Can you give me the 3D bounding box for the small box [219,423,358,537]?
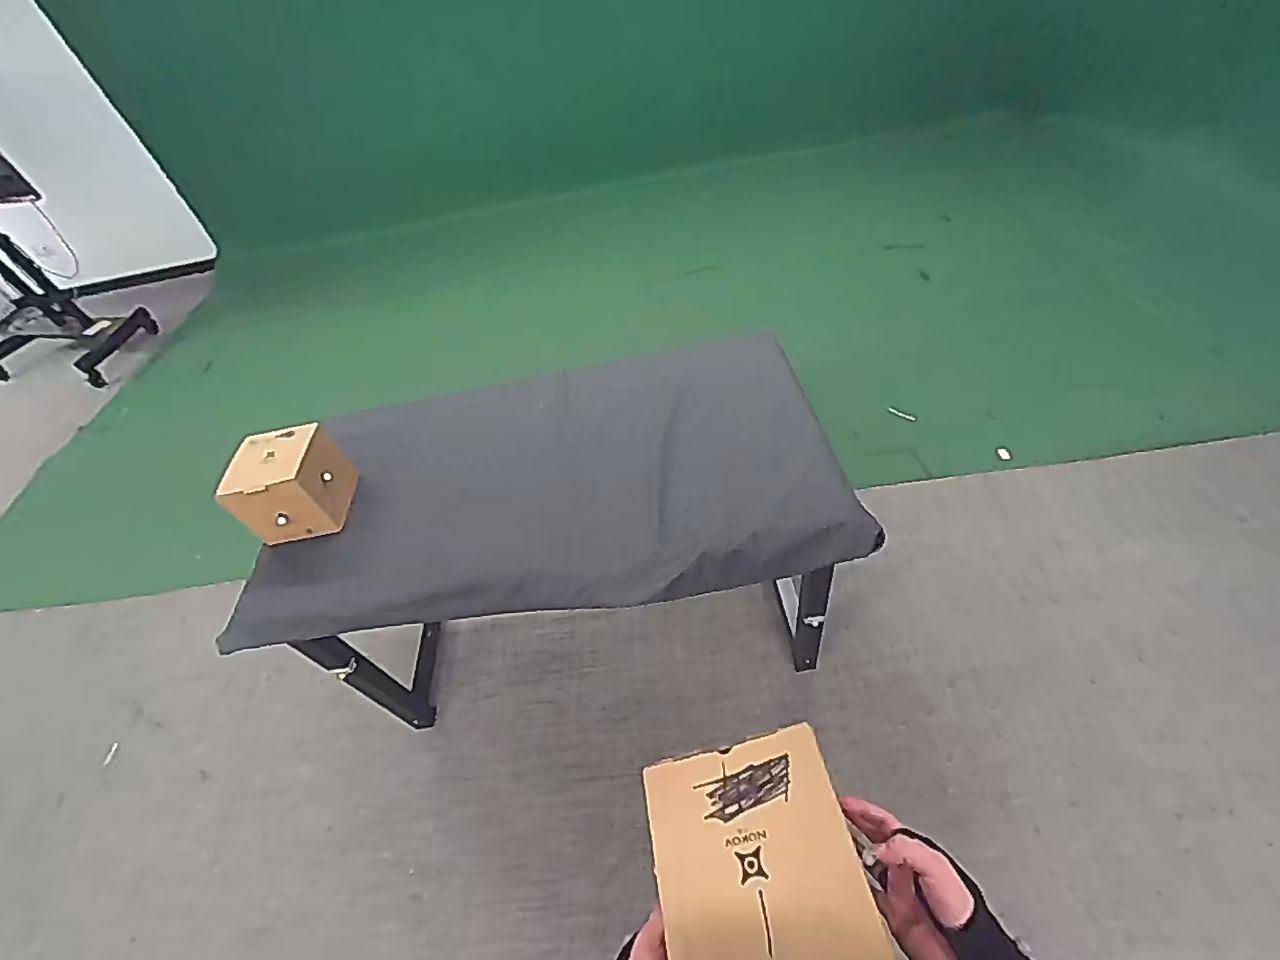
[{"bbox_3d":[-0.738,0.008,1.162,0.168,0.176,0.179,-10,48,1],"label":"small box"}]
